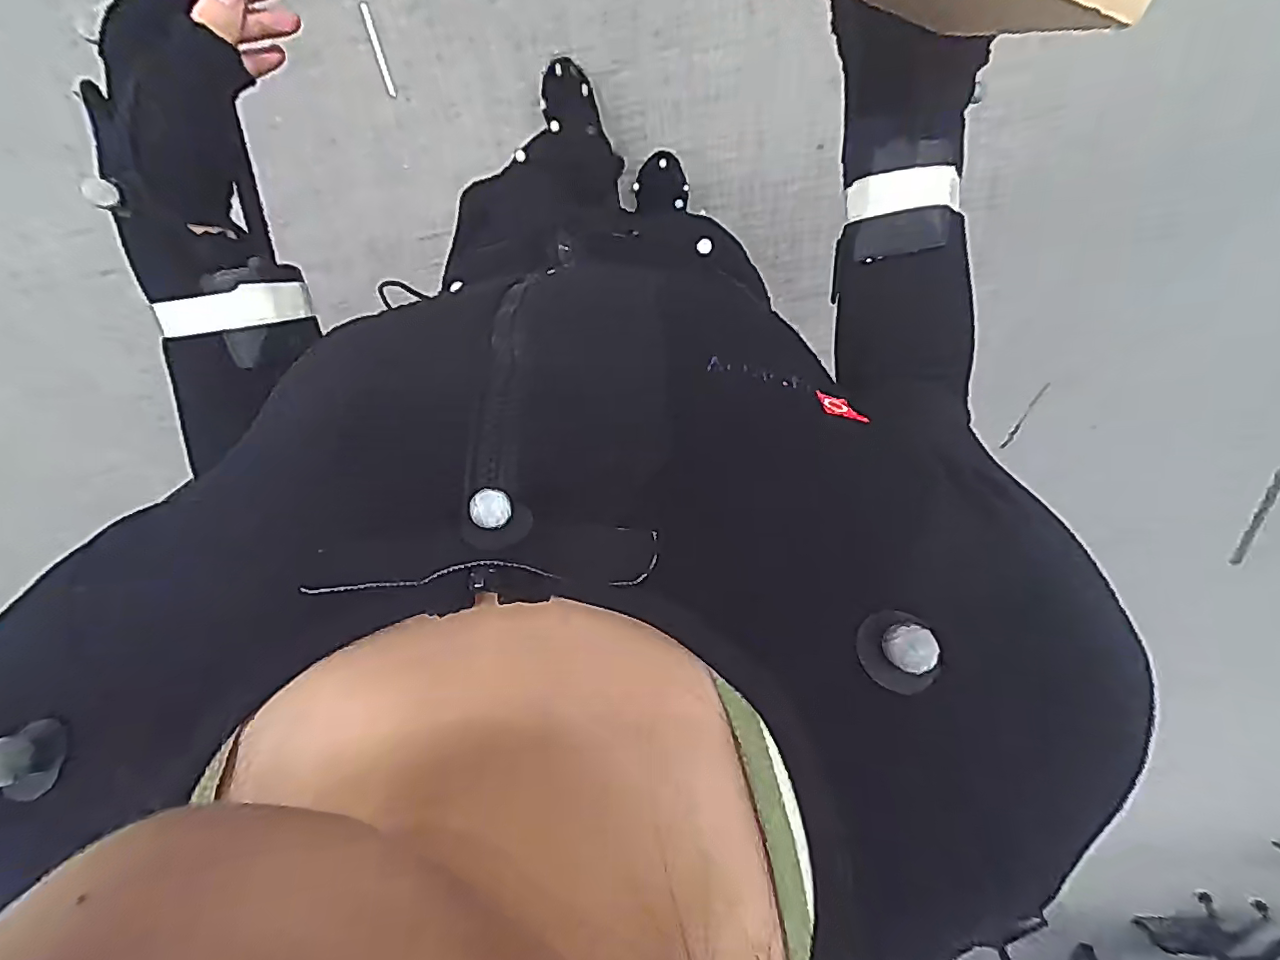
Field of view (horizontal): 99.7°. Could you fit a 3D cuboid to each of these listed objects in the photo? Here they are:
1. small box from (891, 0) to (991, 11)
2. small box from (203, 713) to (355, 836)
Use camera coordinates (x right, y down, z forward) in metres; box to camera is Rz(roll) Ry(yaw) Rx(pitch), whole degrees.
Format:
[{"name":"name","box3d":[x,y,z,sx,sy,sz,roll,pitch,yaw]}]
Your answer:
[{"name":"small box","box3d":[0.107,-0.289,0.183,0.179,0.176,0.168,14,128,-5]},{"name":"small box","box3d":[-0.738,0.615,1.133,0.168,0.176,0.179,-8,122,7]}]
